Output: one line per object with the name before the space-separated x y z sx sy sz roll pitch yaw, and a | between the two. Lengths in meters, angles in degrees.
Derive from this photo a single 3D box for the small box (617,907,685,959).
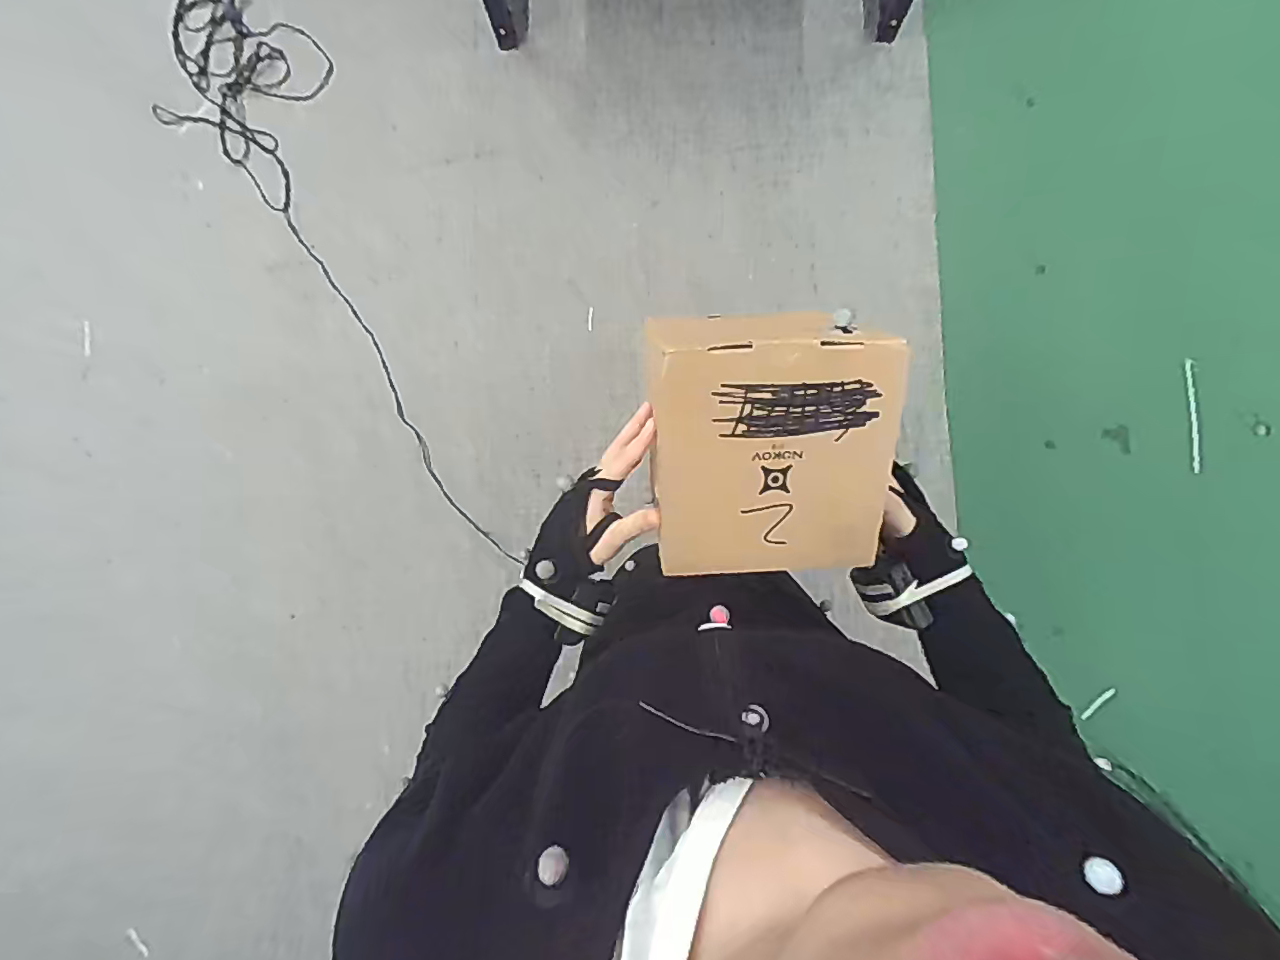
small box | 0.028 1.218 1.359 0.168 0.176 0.179 0 85 3
